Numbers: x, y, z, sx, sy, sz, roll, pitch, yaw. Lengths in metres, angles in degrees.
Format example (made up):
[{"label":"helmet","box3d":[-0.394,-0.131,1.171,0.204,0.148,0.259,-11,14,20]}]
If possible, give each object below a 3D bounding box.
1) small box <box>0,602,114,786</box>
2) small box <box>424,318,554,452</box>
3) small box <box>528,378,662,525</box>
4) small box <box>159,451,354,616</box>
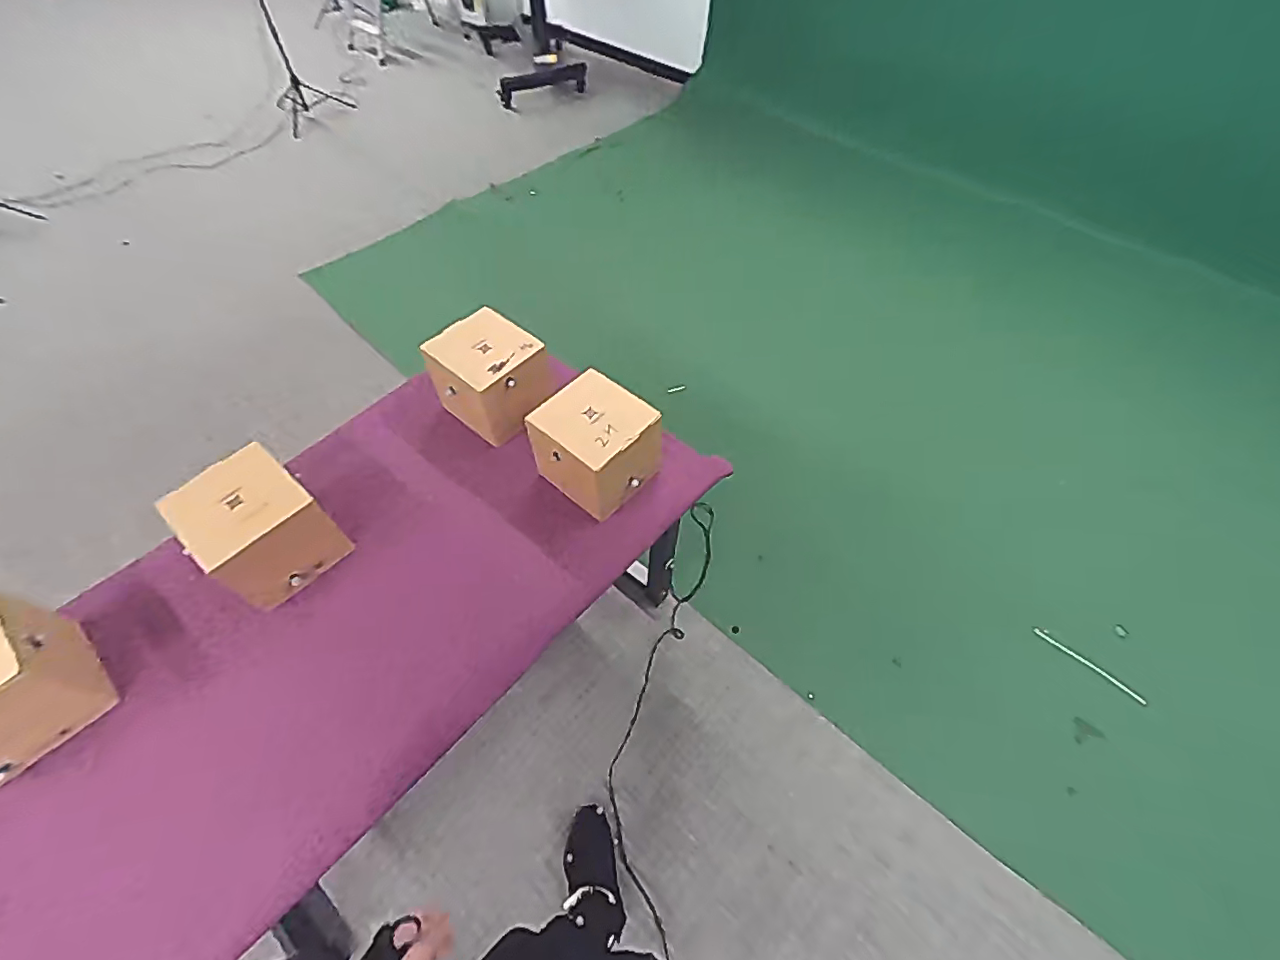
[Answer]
[{"label":"small box","box3d":[-0.881,0.293,0.731,0.179,0.176,0.168,38,61,21]},{"label":"small box","box3d":[-0.296,-0.188,1.094,0.179,0.176,0.168,35,62,21]},{"label":"small box","box3d":[-0.078,-0.048,0.997,0.179,0.176,0.168,37,63,23]},{"label":"small box","box3d":[-0.615,0.093,0.887,0.179,0.176,0.168,37,62,21]}]
